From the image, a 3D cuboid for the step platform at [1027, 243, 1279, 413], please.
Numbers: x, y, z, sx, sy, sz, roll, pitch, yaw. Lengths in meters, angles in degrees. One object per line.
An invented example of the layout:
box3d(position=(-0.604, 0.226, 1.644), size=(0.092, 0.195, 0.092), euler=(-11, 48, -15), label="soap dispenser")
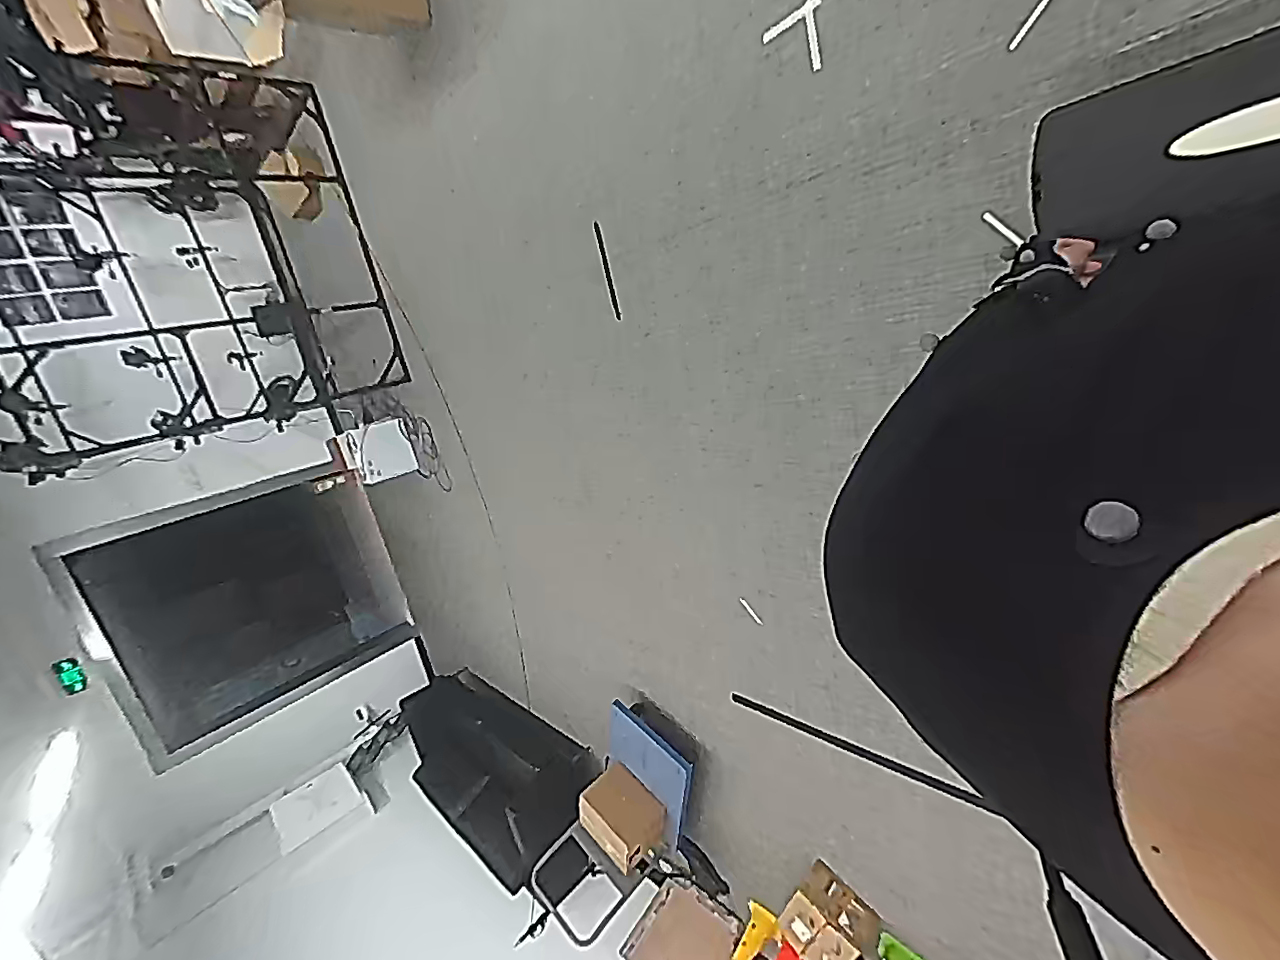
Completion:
box3d(position=(1.108, -0.273, 0.961), size=(0.684, 0.204, 0.286), euler=(11, 116, 47), label="step platform")
